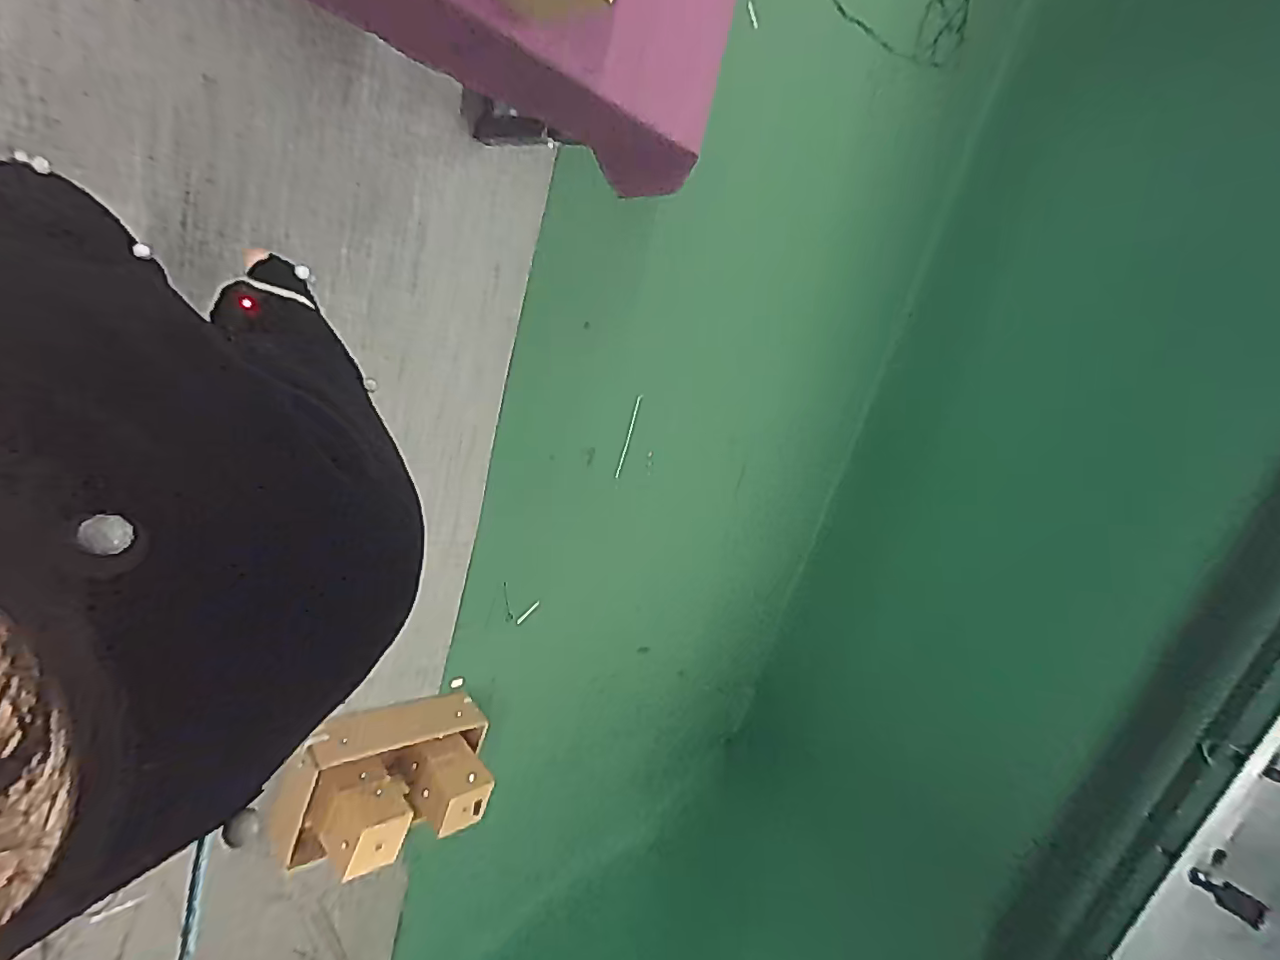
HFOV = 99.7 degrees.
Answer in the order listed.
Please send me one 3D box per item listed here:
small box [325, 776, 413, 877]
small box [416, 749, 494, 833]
[{"bbox_3d":[-0.844,1.062,1.674,0.168,0.176,0.179,18,96,-53],"label":"small box"},{"bbox_3d":[-0.654,1.086,1.907,0.179,0.176,0.168,9,105,-50],"label":"small box"}]
